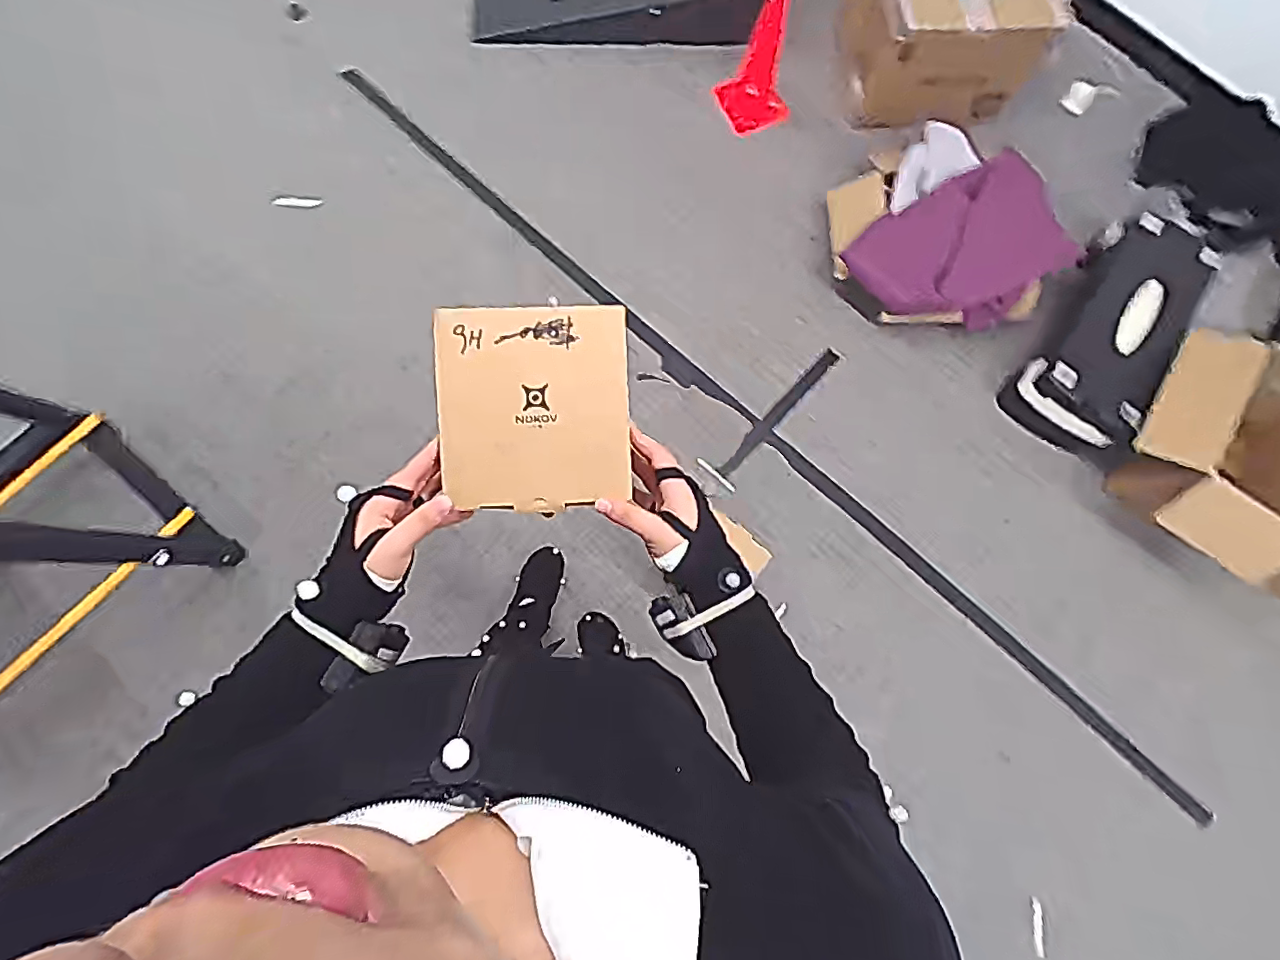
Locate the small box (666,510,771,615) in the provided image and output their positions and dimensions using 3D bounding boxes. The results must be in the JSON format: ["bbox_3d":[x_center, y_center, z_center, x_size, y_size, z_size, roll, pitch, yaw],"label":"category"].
[{"bbox_3d":[0.175,0.193,1.280,0.168,0.176,0.179,41,82,6],"label":"small box"}]

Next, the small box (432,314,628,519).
[{"bbox_3d":[-0.099,-0.060,0.552,0.168,0.176,0.179,-3,93,-5],"label":"small box"}]

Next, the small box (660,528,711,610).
[{"bbox_3d":[0.171,0.225,1.439,0.168,0.176,0.179,-44,86,-8],"label":"small box"}]
